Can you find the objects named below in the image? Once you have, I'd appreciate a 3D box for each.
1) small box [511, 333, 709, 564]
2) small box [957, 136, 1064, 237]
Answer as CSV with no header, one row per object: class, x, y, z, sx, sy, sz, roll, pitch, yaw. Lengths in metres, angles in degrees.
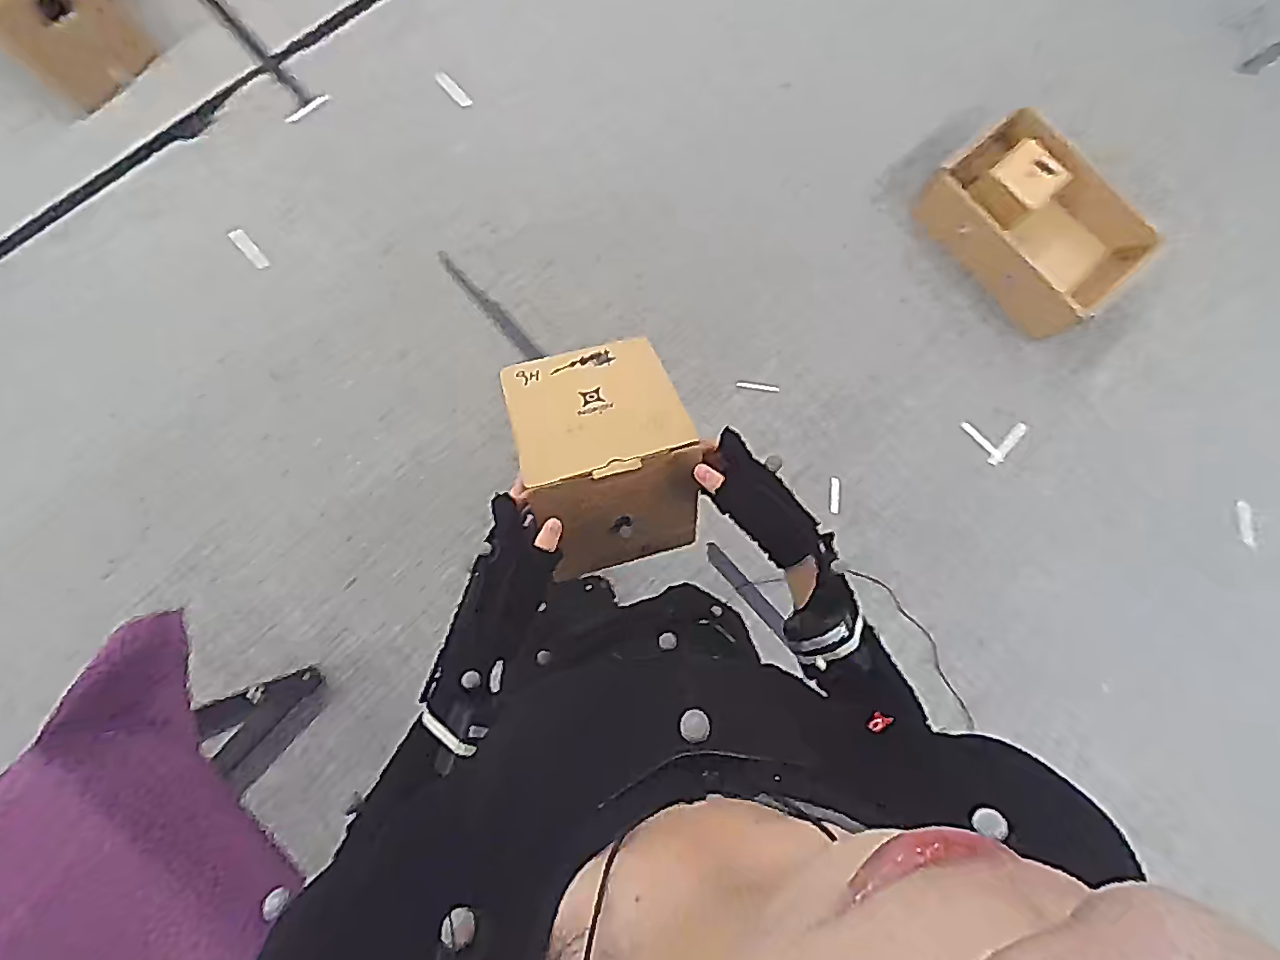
small box,-0.032,-0.027,0.586,0.168,0.176,0.179,-14,51,-8
small box,1.126,-0.892,1.657,0.179,0.176,0.168,-44,87,-9
